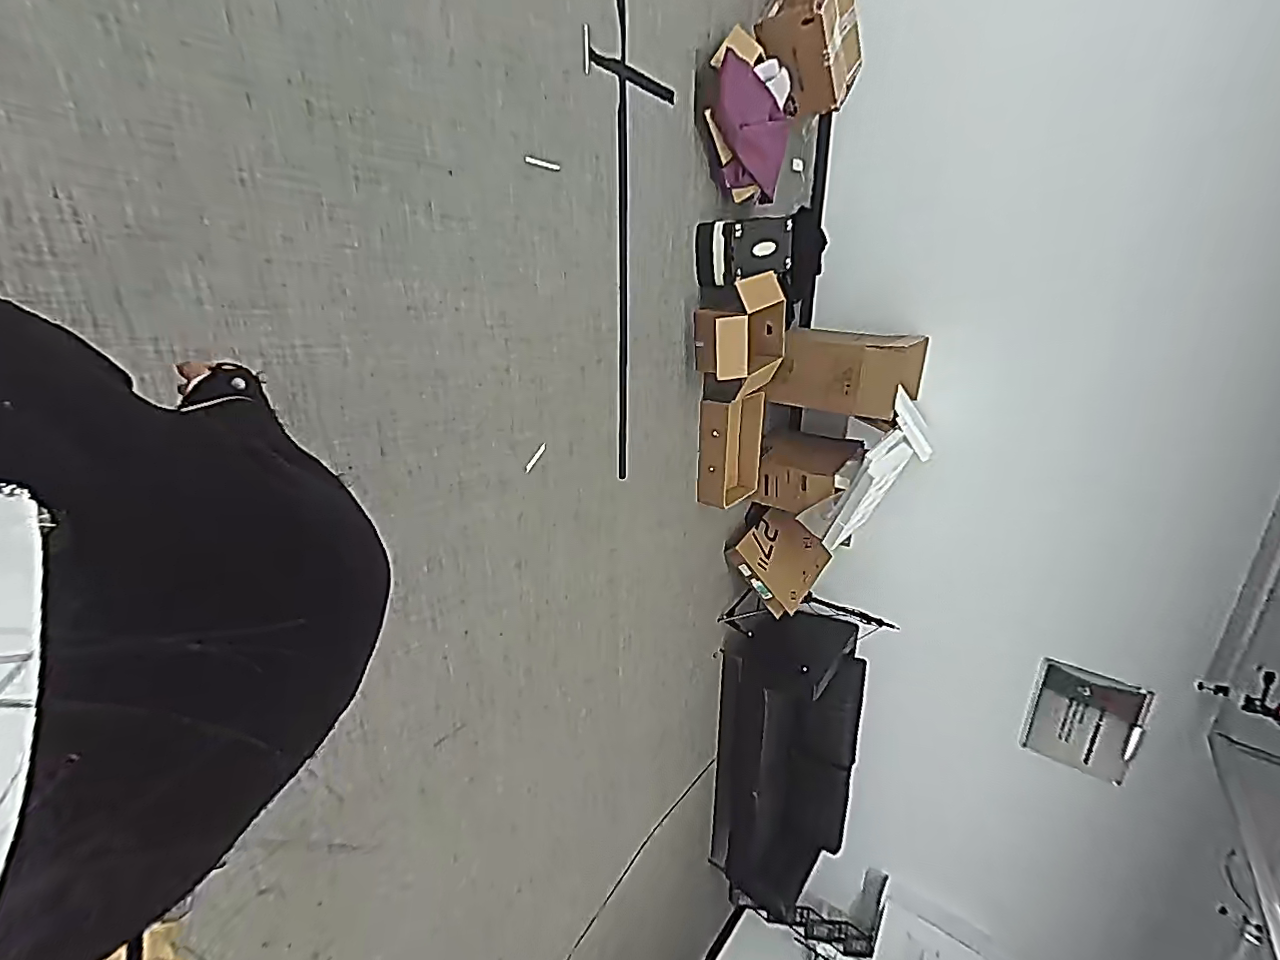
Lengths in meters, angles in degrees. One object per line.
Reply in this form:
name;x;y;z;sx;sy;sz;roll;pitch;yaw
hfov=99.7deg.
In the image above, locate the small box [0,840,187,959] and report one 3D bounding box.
small box;-0.569;0.502;0.532;0.168;0.176;0.179;-24;119;-47
